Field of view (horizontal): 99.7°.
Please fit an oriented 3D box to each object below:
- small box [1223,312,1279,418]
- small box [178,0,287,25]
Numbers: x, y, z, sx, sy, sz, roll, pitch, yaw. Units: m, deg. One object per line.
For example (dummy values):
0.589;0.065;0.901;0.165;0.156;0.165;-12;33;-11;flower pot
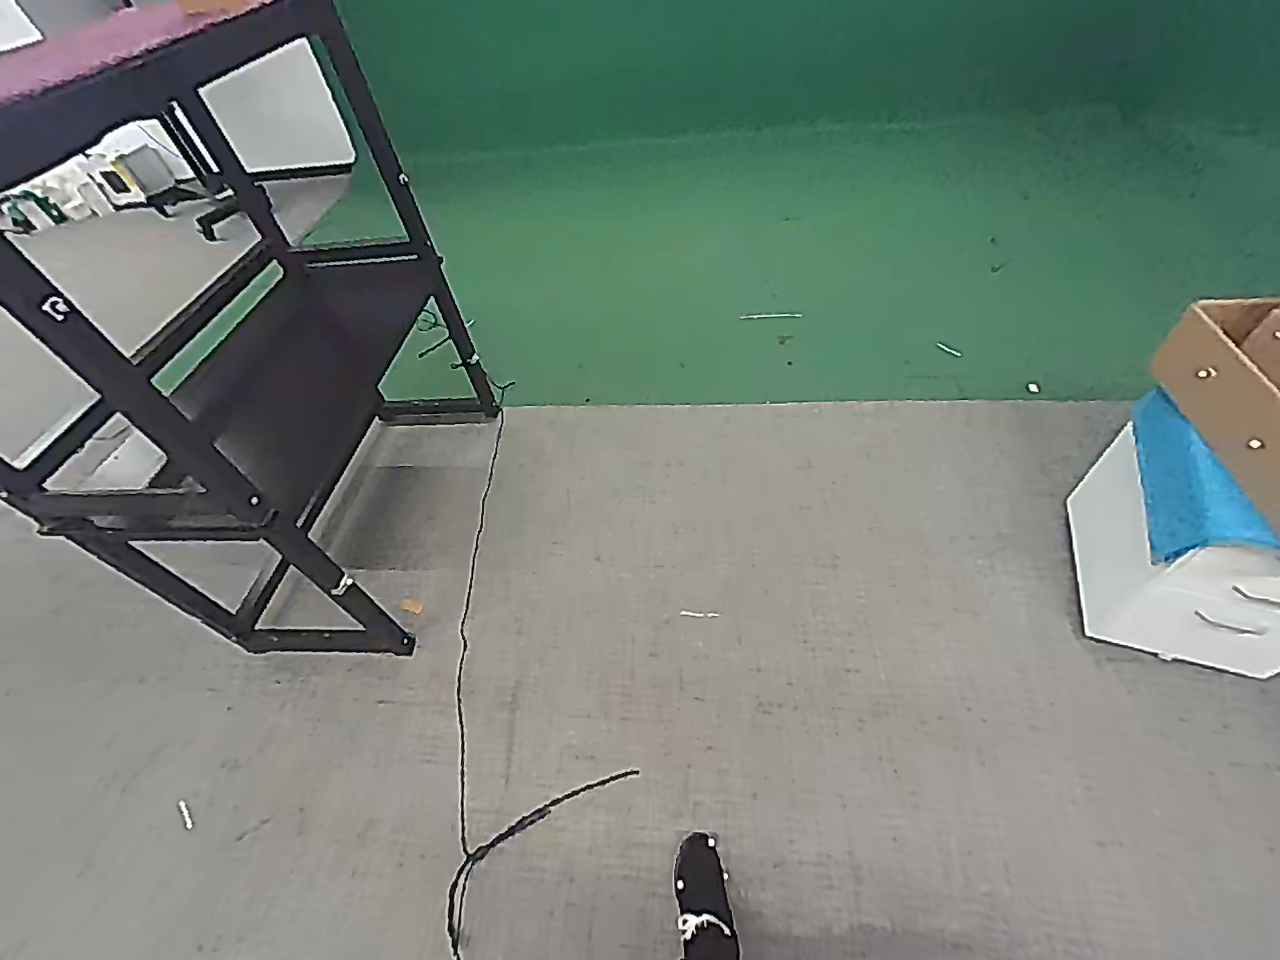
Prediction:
1.451;-0.245;1.164;0.179;0.176;0.168;2;50;7;small box
-0.975;-1.179;1.249;0.179;0.176;0.168;0;50;8;small box
